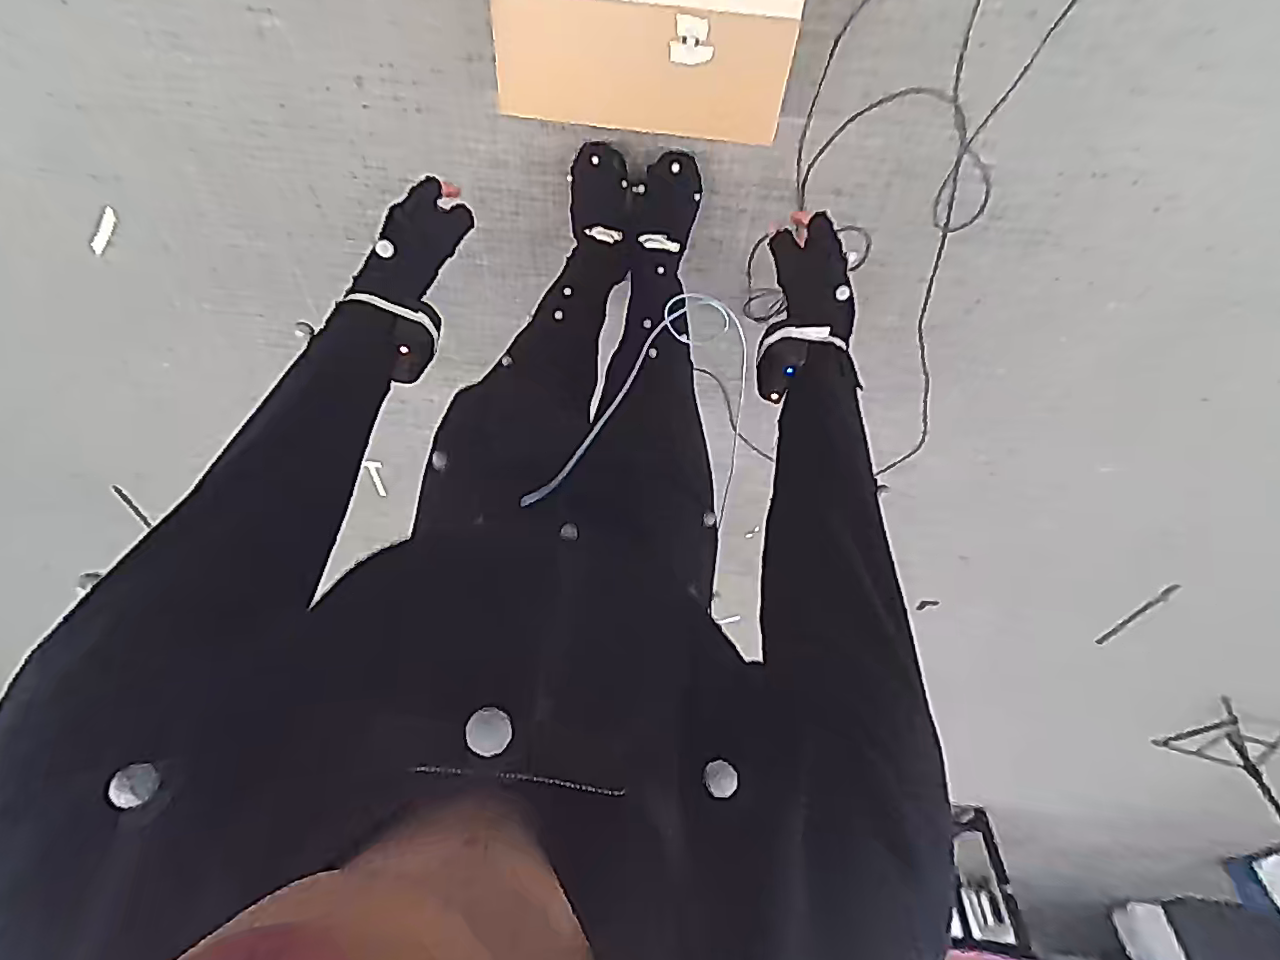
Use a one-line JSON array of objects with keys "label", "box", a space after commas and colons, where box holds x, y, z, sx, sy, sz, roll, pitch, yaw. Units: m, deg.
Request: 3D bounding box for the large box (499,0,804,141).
[{"label": "large box", "box": [0.022, -0.731, 0.800, 0.408, 0.320, 0.320, 6, 135, -1]}]
